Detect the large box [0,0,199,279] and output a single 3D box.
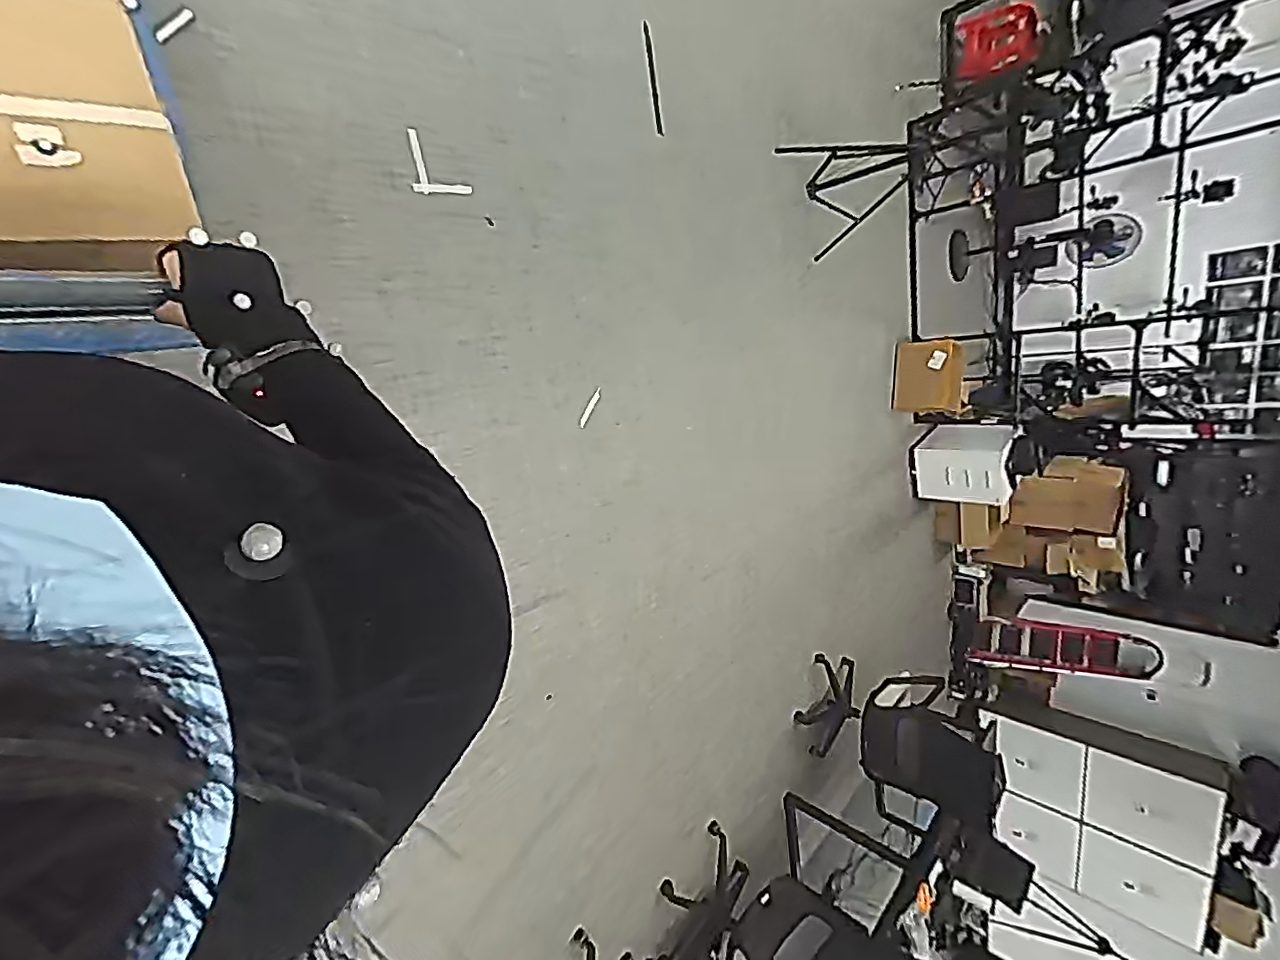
[{"bbox_3d":[-0.927,-0.466,0.745,0.408,0.320,0.320,-23,111,-42],"label":"large box"}]
